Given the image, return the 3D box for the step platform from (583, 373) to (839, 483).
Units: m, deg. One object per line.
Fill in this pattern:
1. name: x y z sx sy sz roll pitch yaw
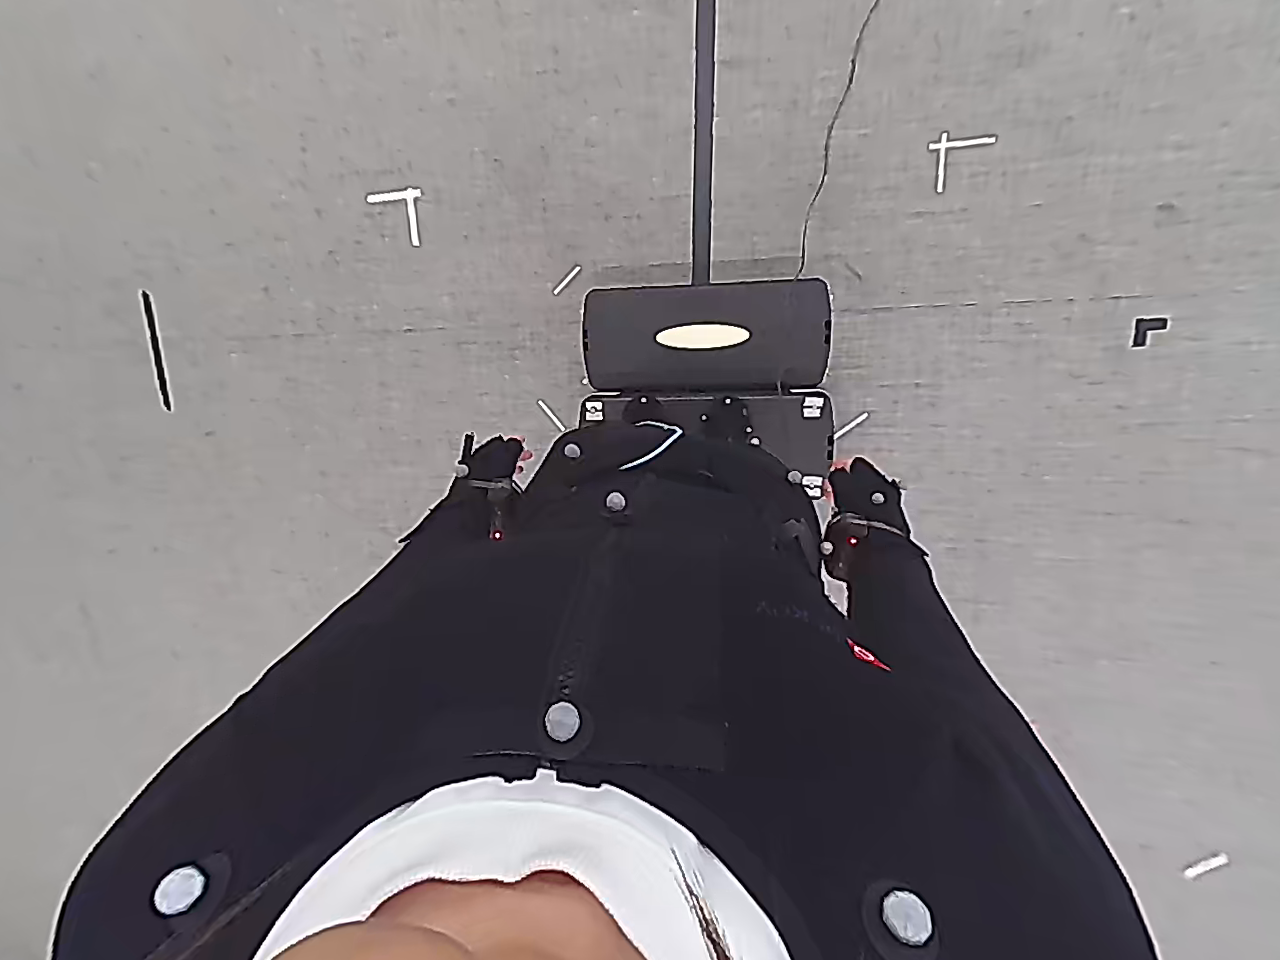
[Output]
1. step platform: 0.186 -0.141 1.492 0.684 0.204 0.286 0 100 11
